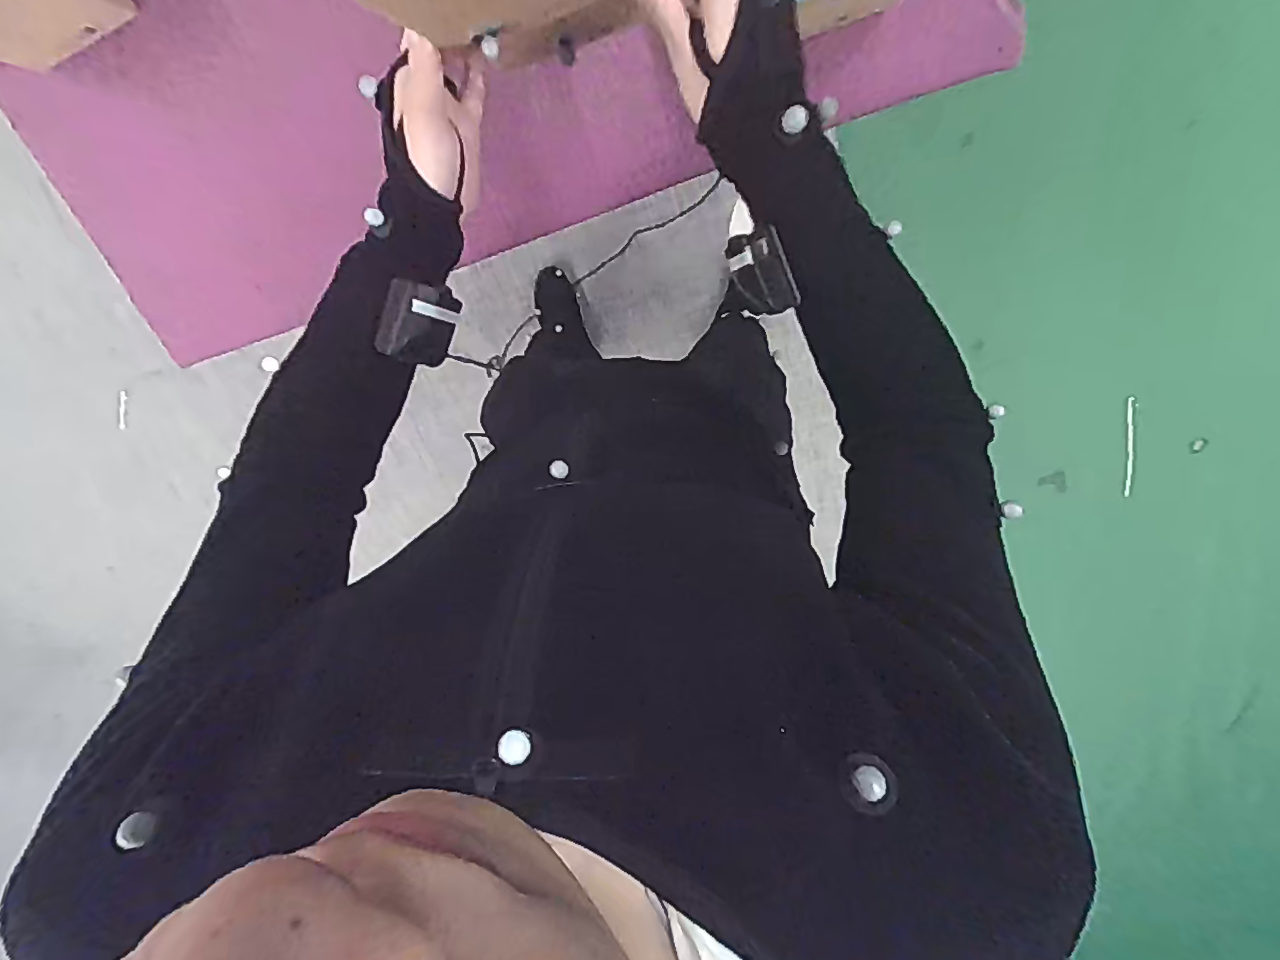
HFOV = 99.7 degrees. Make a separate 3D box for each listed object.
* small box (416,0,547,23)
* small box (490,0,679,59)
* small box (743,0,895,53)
[{"bbox_3d":[-0.070,-0.348,0.245,0.168,0.176,0.179,-14,117,11],"label":"small box"},{"bbox_3d":[-0.062,-0.440,0.382,0.168,0.176,0.179,-12,118,10],"label":"small box"},{"bbox_3d":[0.179,-0.560,0.515,0.168,0.176,0.179,-13,111,10],"label":"small box"}]
